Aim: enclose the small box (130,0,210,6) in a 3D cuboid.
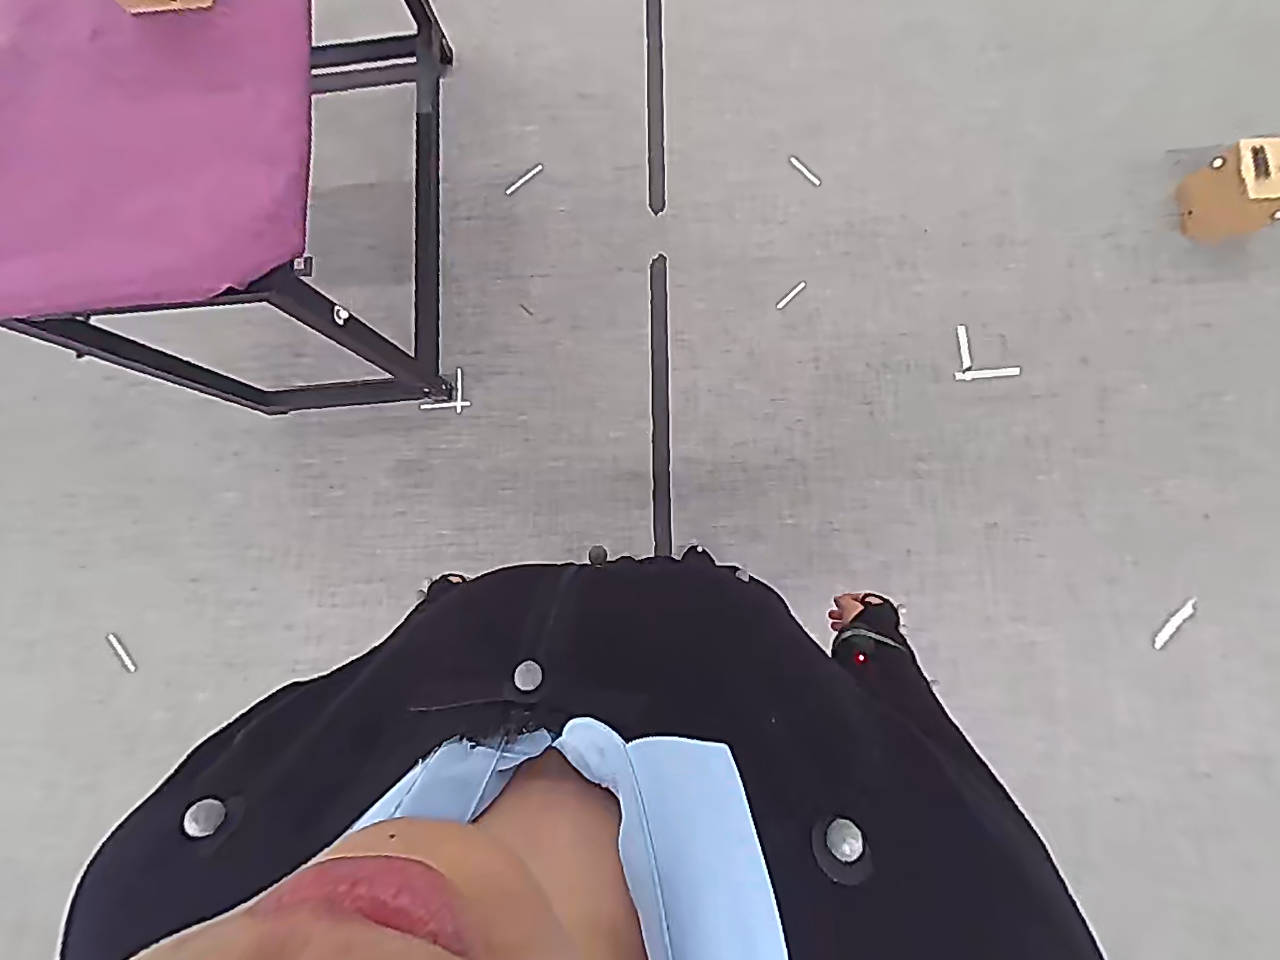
[{"bbox_3d":[-0.849,-0.944,0.907,0.168,0.176,0.179,0,82,4],"label":"small box"}]
